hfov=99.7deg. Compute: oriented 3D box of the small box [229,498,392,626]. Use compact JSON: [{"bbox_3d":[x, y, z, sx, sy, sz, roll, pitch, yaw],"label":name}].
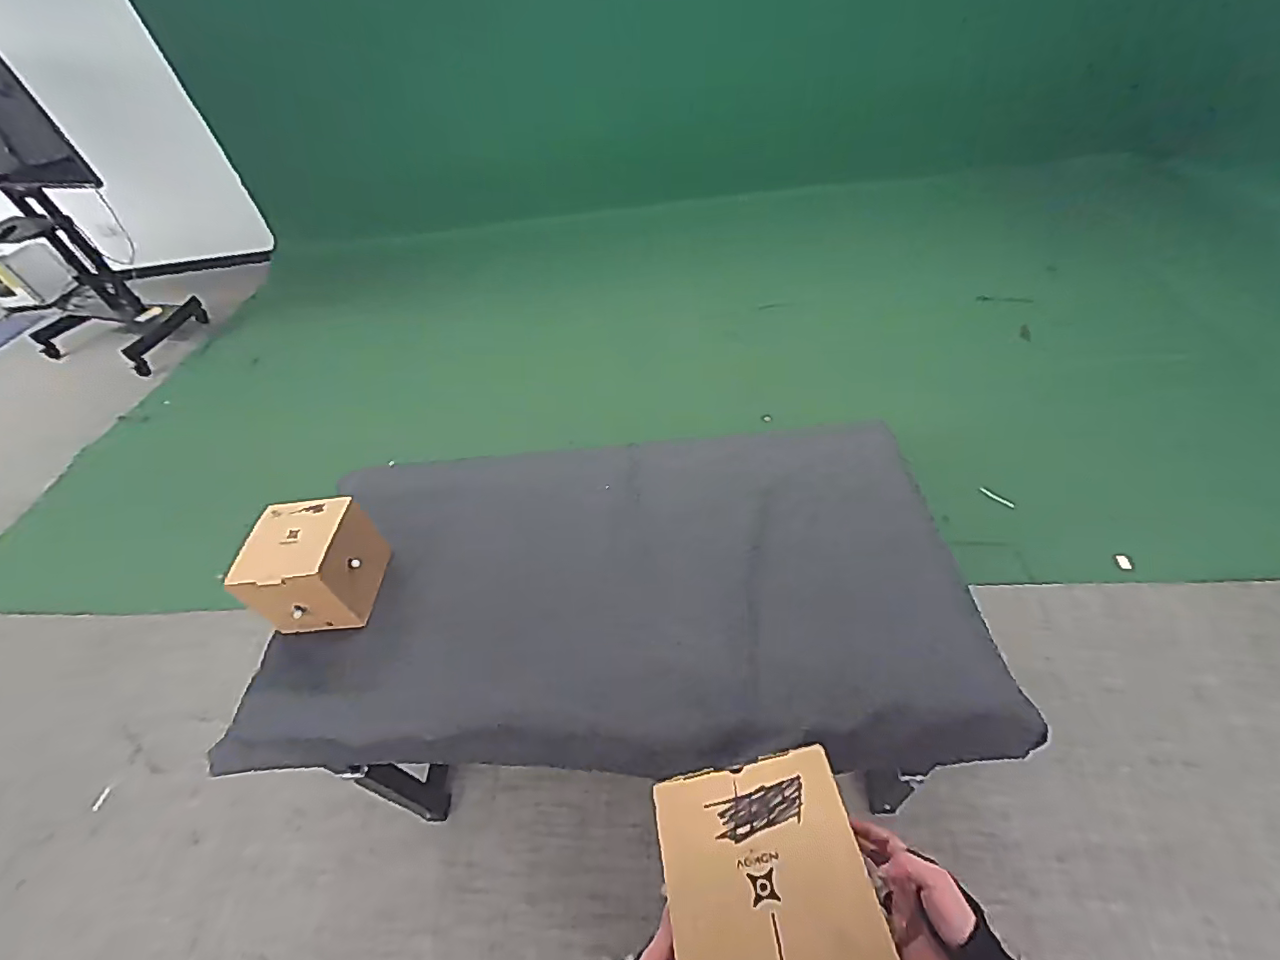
[{"bbox_3d":[-0.587,0.157,0.994,0.168,0.176,0.179,-5,47,4],"label":"small box"}]
